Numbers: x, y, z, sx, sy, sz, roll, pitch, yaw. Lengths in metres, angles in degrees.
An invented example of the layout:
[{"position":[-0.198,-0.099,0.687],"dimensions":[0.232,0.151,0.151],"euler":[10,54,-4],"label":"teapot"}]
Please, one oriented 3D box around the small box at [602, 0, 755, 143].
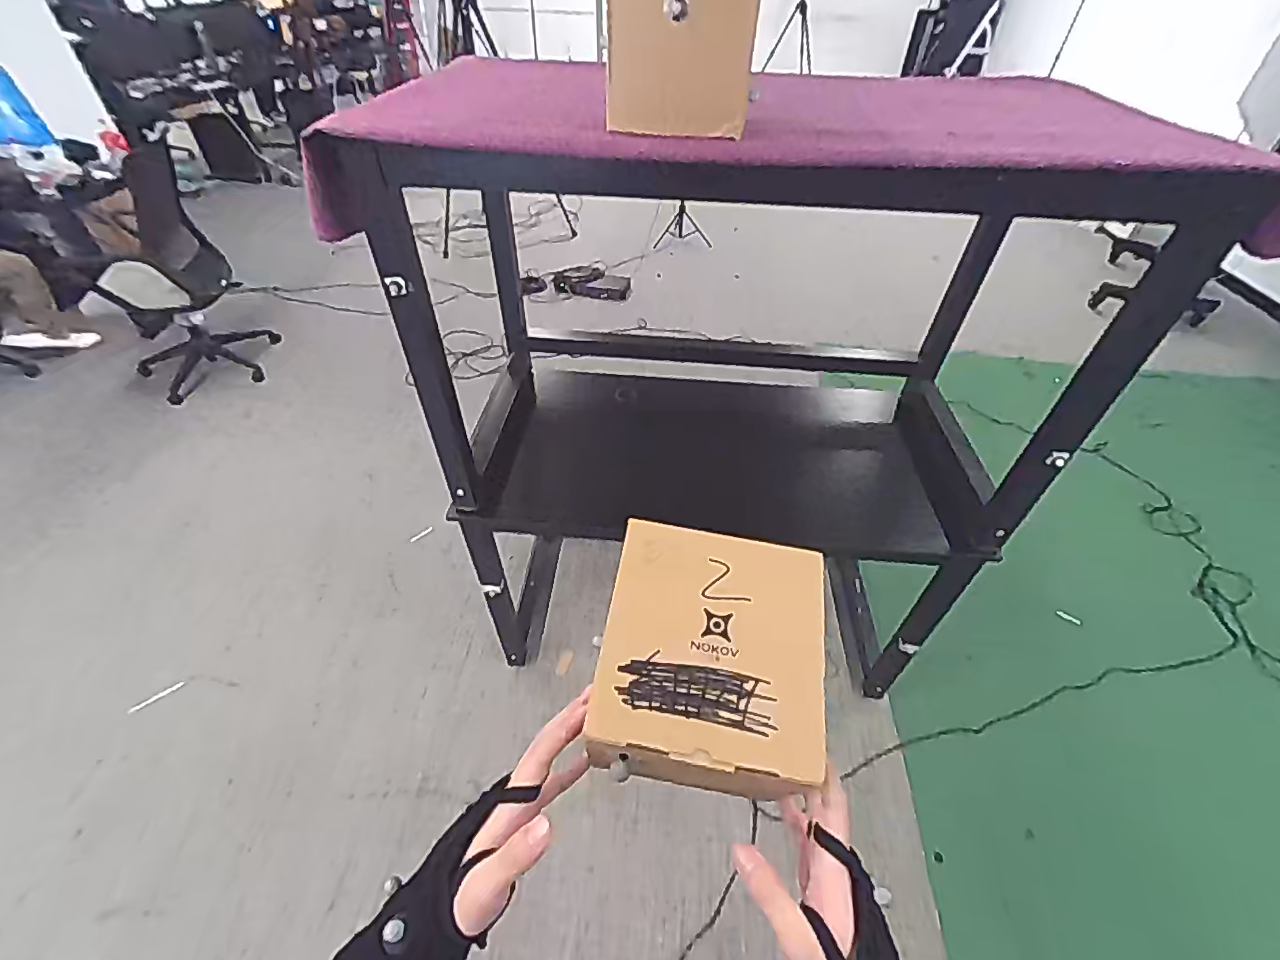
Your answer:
[{"position":[0.050,-0.543,0.689],"dimensions":[0.179,0.176,0.168],"euler":[7,44,5],"label":"small box"}]
